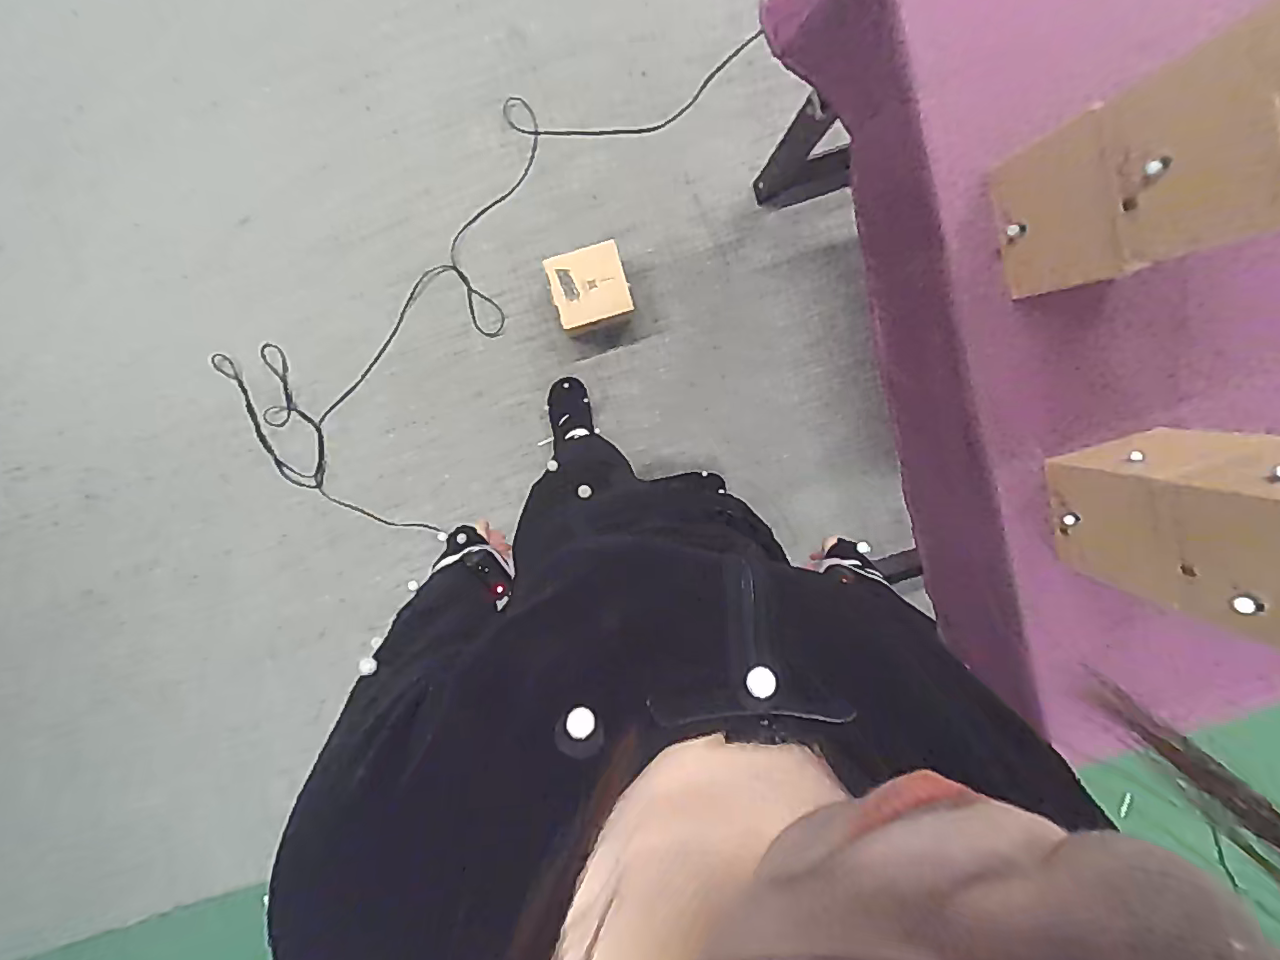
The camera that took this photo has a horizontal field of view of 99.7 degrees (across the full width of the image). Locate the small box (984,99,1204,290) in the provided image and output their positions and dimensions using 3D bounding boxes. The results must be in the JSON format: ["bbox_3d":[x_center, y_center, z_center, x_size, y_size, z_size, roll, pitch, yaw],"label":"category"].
[{"bbox_3d":[0.557,-0.342,0.649,0.168,0.176,0.179,-20,100,0],"label":"small box"}]

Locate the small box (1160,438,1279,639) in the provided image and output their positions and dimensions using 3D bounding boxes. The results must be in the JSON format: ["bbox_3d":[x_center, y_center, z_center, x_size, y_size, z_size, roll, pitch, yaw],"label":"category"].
[{"bbox_3d":[0.690,0.061,0.554,0.179,0.176,0.168,-17,100,0],"label":"small box"}]

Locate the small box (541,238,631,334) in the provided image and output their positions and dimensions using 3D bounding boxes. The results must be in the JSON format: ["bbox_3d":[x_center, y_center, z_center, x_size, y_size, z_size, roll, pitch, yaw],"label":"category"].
[{"bbox_3d":[-0.127,-0.468,1.333,0.179,0.176,0.168,-17,100,-1],"label":"small box"}]

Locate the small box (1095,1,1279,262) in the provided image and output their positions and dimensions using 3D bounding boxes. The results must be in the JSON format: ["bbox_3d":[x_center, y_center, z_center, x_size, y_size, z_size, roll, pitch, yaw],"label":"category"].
[{"bbox_3d":[0.571,-0.317,0.486,0.179,0.176,0.168,-18,99,0],"label":"small box"}]
